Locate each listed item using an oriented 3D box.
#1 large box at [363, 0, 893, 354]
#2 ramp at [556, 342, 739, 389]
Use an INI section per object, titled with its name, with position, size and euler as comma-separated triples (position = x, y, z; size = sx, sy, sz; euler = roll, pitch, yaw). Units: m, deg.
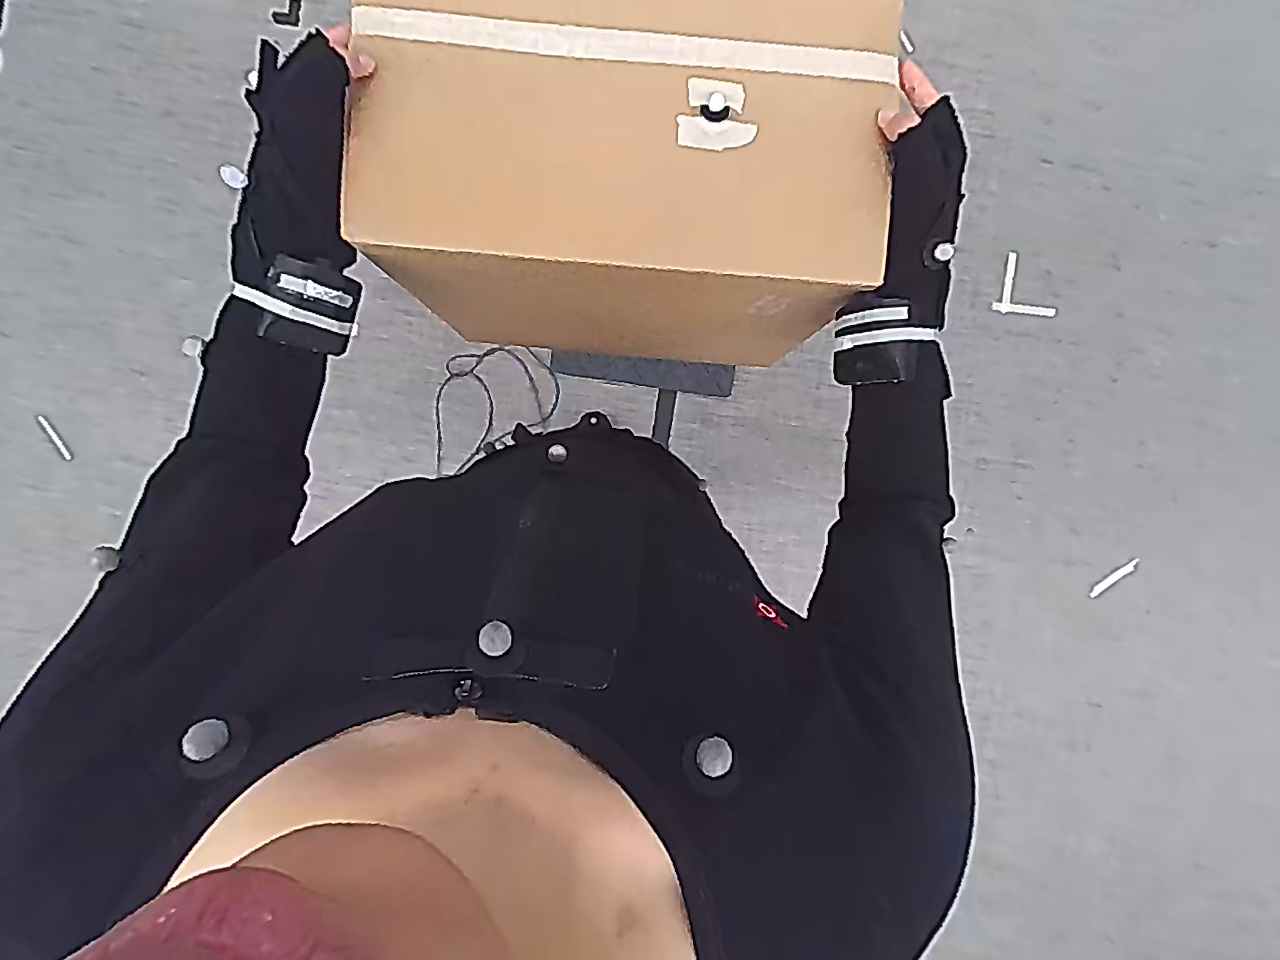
[large box]
position = -0.012, -0.328, 0.564
size = 0.408, 0.320, 0.320
euler = 4, 91, -2
[ramp]
position = 0.081, -0.755, 1.344
size = 0.509, 0.206, 0.991
euler = 6, 94, -2
